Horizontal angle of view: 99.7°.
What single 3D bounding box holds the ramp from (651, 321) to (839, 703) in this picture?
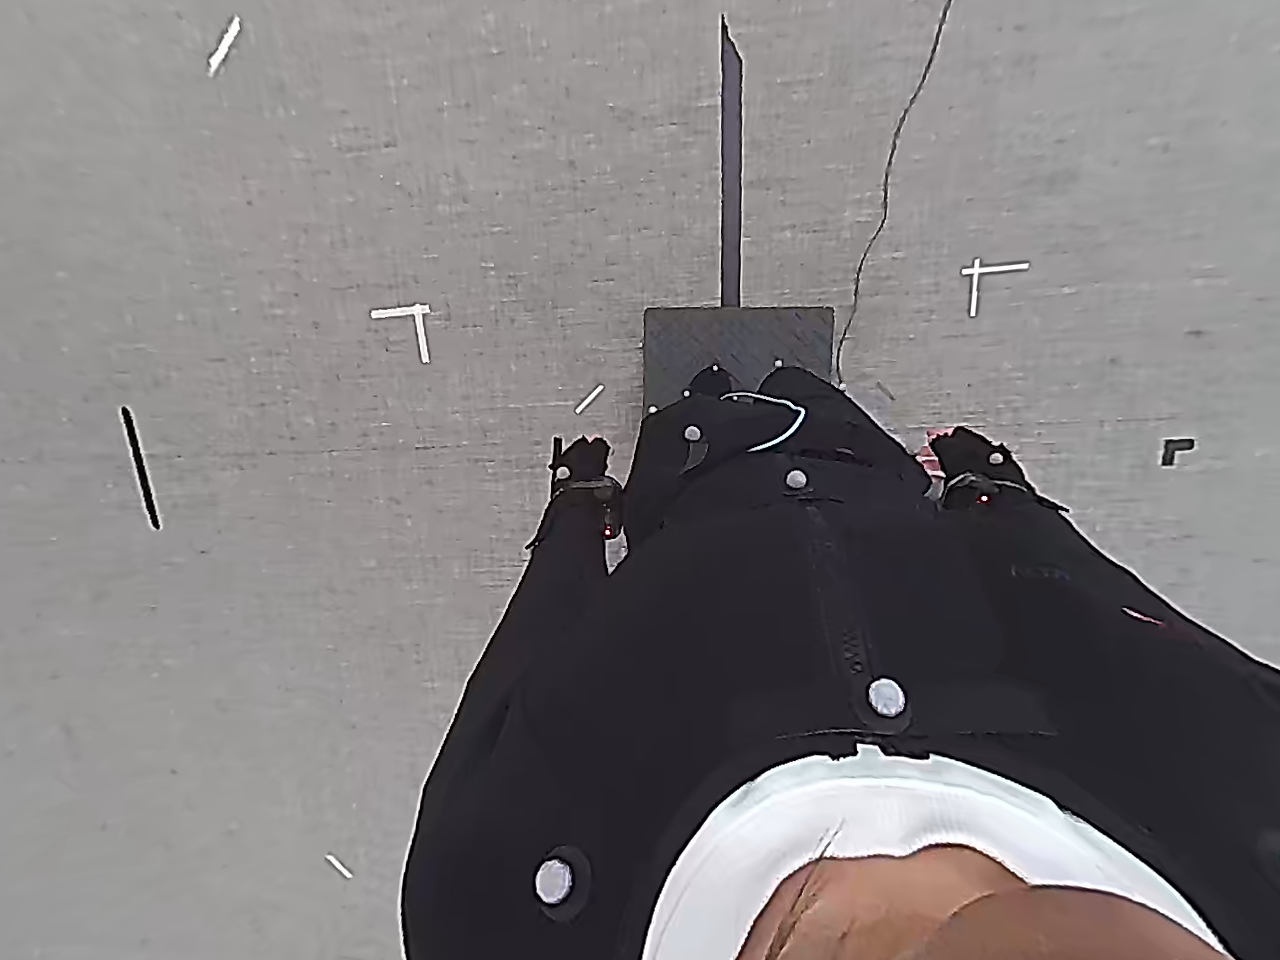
[{"bbox_3d":[0.274,0.084,1.440,0.509,0.206,0.991,-1,100,8],"label":"ramp"}]
